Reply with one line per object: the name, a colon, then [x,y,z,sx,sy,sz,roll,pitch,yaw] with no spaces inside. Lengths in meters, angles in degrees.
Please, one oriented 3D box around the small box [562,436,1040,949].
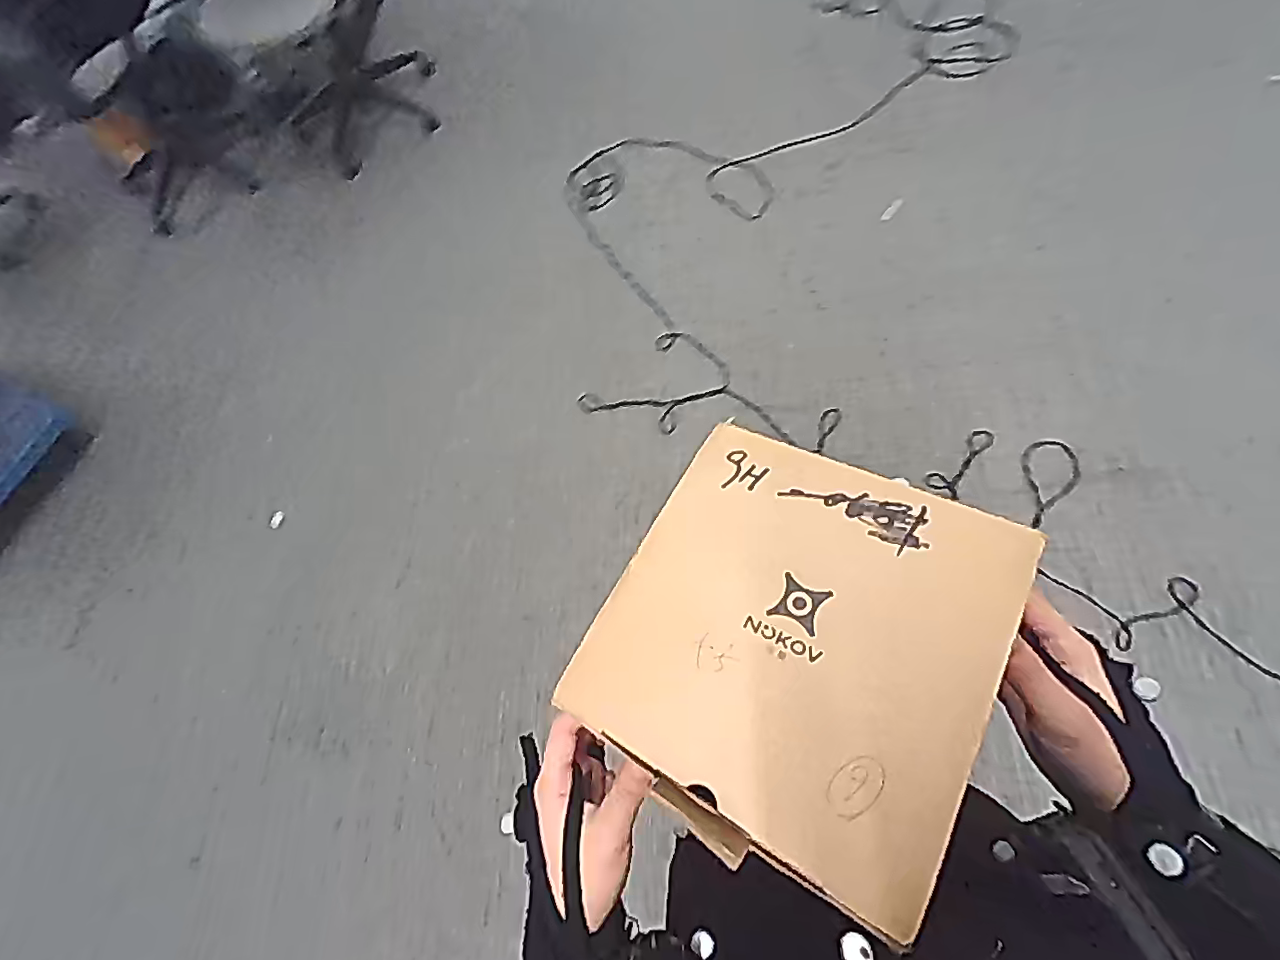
small box: [0.091,0.110,0.321,0.168,0.176,0.179,25,70,27]
